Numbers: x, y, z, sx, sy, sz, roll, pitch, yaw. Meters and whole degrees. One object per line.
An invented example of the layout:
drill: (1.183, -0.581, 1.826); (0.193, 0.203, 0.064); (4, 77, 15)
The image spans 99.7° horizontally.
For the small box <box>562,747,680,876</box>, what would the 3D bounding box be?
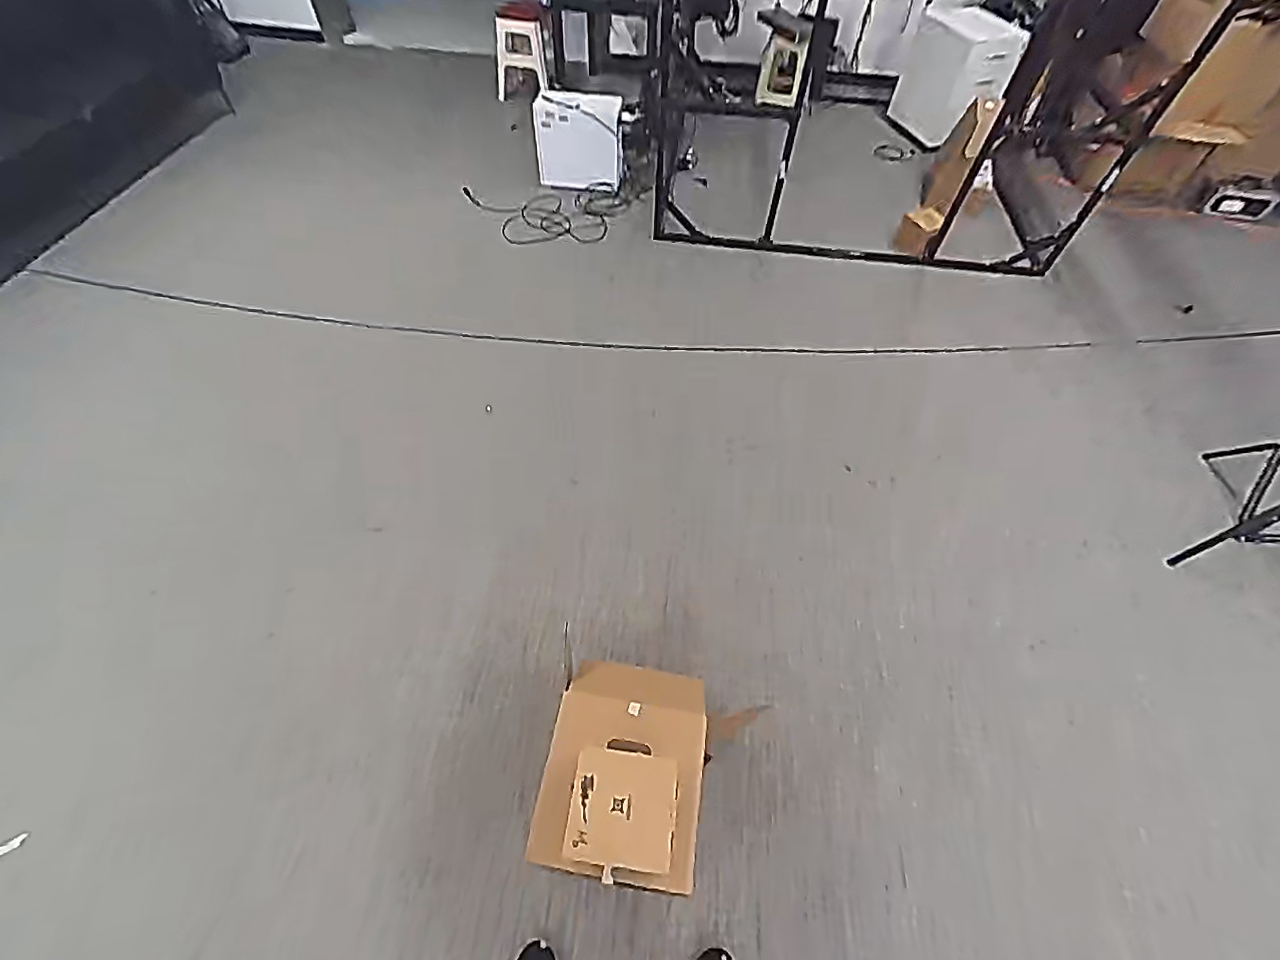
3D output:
small box: (-0.031, 0.592, 0.970); (0.179, 0.176, 0.168); (8, 56, 3)
